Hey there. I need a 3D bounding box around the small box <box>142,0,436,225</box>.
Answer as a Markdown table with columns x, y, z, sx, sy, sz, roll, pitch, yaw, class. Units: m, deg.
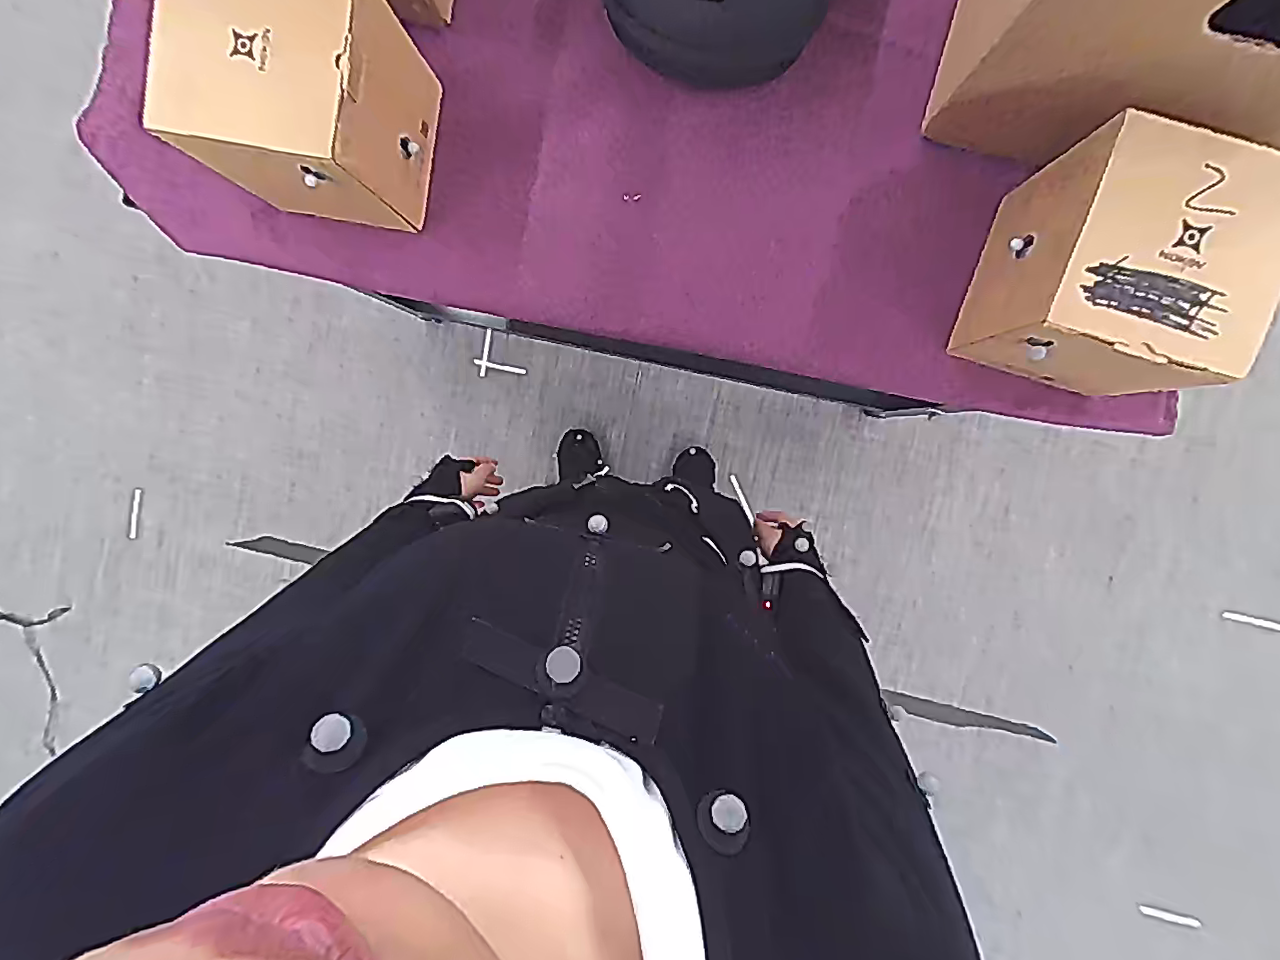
| x | y | z | sx | sy | sz | roll | pitch | yaw | class |
| --- | --- | --- | --- | --- | --- | --- | --- | --- | --- |
| -0.332 | -0.378 | 0.542 | 0.179 | 0.176 | 0.168 | 10 | 95 | 1 | small box |
